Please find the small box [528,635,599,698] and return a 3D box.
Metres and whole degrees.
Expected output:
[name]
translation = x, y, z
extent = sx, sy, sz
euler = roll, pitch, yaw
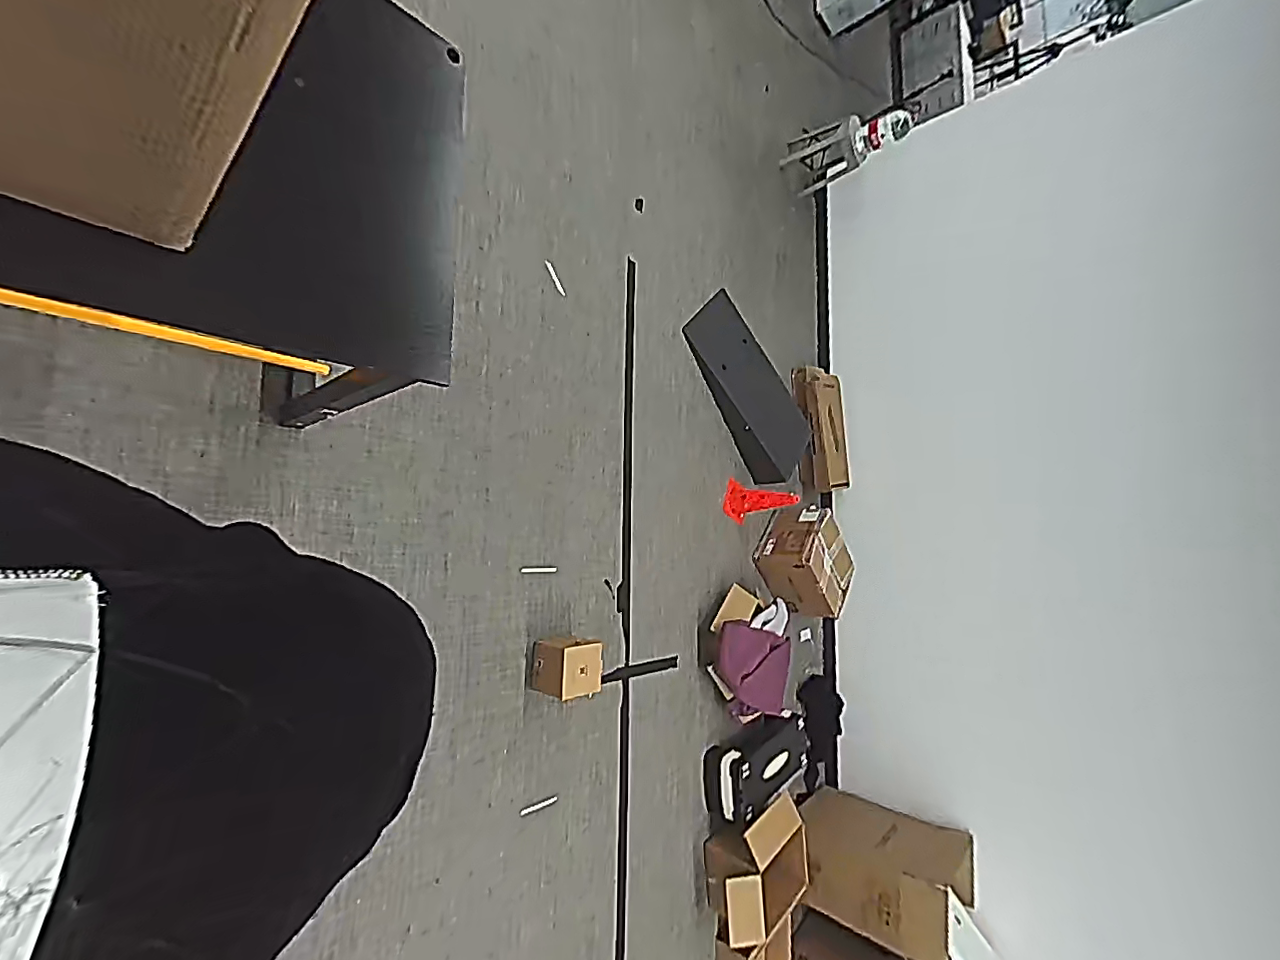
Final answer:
[small box]
translation = -0.264, 0.637, 1.867
extent = 0.179, 0.176, 0.168
euler = 8, 80, -47
